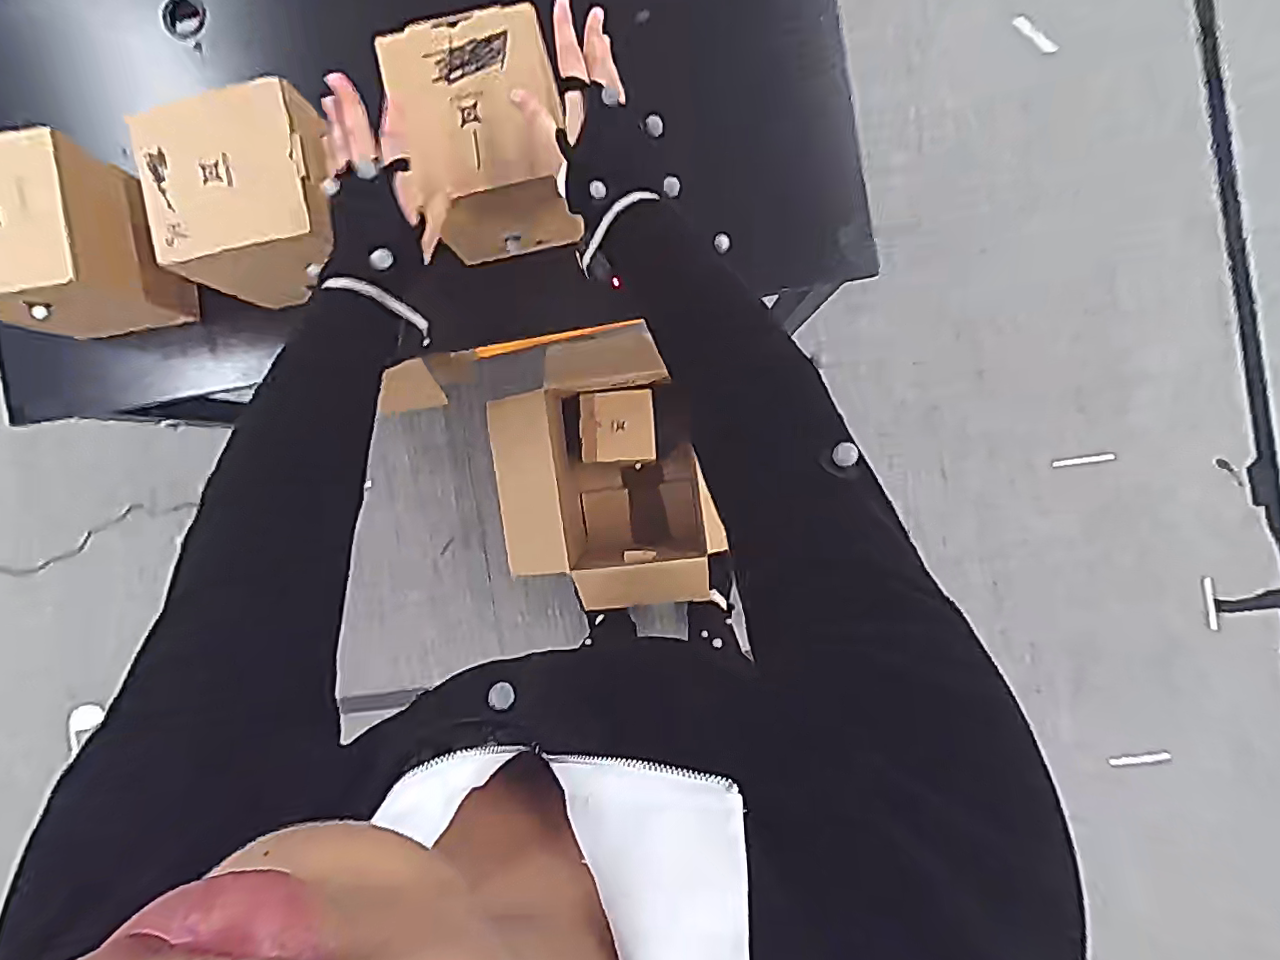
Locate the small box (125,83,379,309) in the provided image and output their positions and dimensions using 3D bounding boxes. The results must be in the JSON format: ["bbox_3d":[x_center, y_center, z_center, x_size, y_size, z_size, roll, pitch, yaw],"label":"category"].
[{"bbox_3d":[-0.435,-0.319,0.642,0.179,0.176,0.168,-11,91,2],"label":"small box"}]

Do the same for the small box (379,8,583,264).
[{"bbox_3d":[-0.170,-0.381,0.630,0.168,0.176,0.179,-11,92,3],"label":"small box"}]

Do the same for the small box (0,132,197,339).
[{"bbox_3d":[-0.695,-0.277,0.653,0.179,0.176,0.168,-8,92,1],"label":"small box"}]
